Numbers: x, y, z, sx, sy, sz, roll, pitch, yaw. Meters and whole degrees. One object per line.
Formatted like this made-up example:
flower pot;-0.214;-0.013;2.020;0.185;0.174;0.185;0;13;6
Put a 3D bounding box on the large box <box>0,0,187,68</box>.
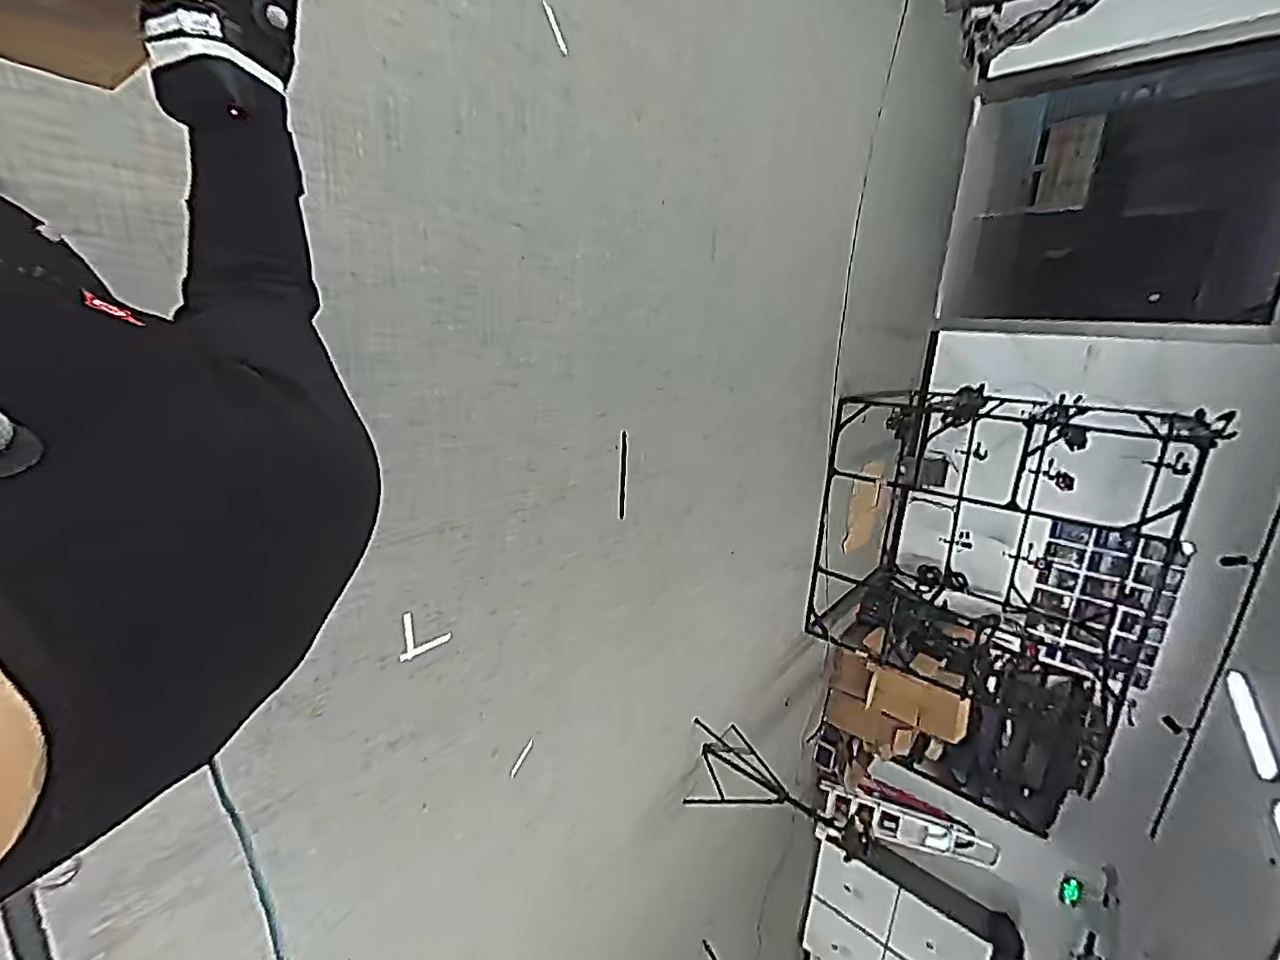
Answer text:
large box;-0.538;-0.490;0.274;0.408;0.320;0.320;-14;117;-51
